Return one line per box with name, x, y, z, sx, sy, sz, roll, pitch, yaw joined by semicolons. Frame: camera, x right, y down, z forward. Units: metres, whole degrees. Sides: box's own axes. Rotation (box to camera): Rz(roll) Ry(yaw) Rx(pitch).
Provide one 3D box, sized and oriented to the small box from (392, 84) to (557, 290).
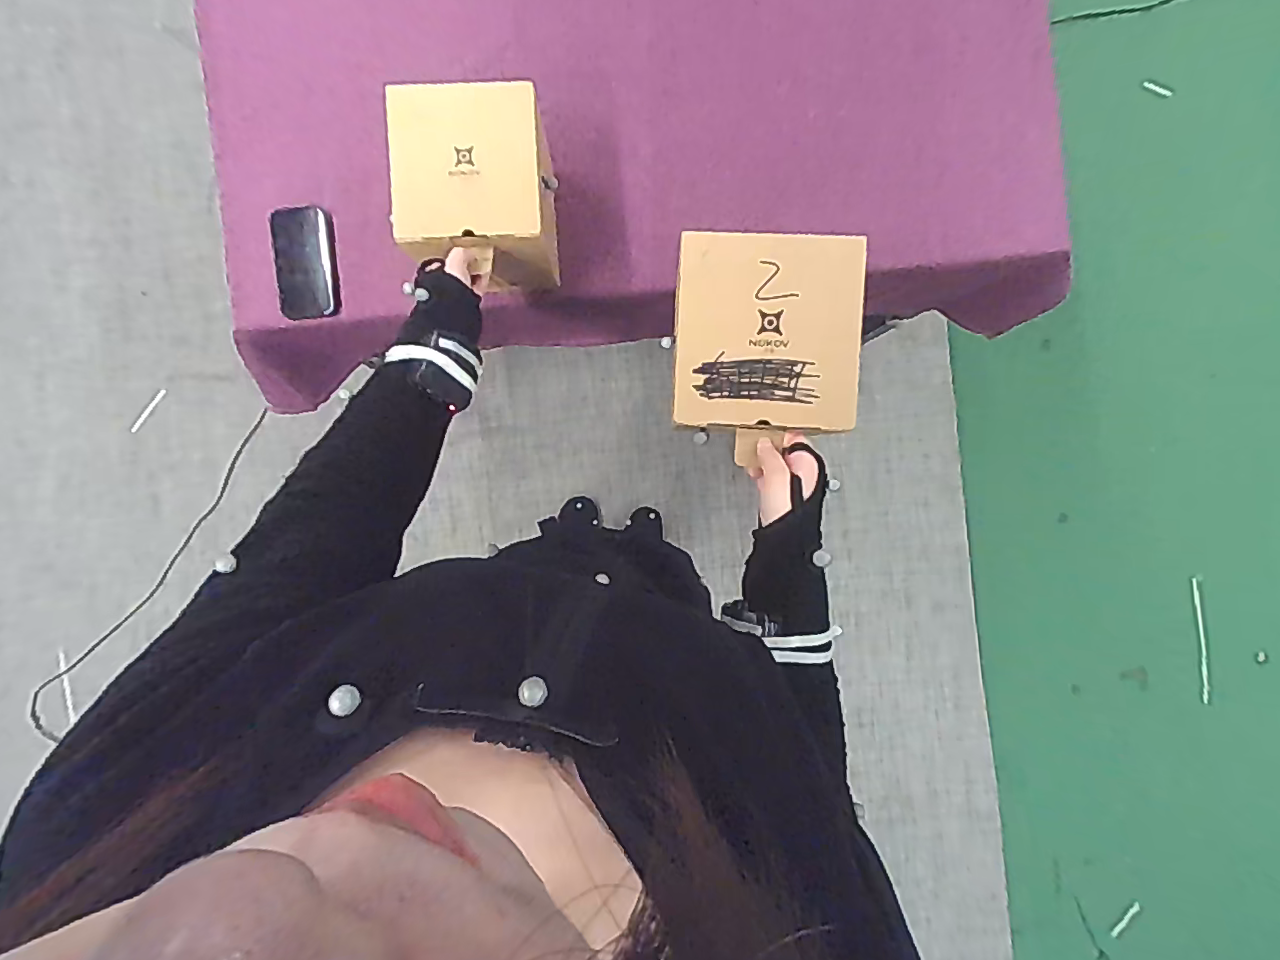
small box;-0.199;-0.361;0.691;0.168;0.176;0.179;-3;91;-2
